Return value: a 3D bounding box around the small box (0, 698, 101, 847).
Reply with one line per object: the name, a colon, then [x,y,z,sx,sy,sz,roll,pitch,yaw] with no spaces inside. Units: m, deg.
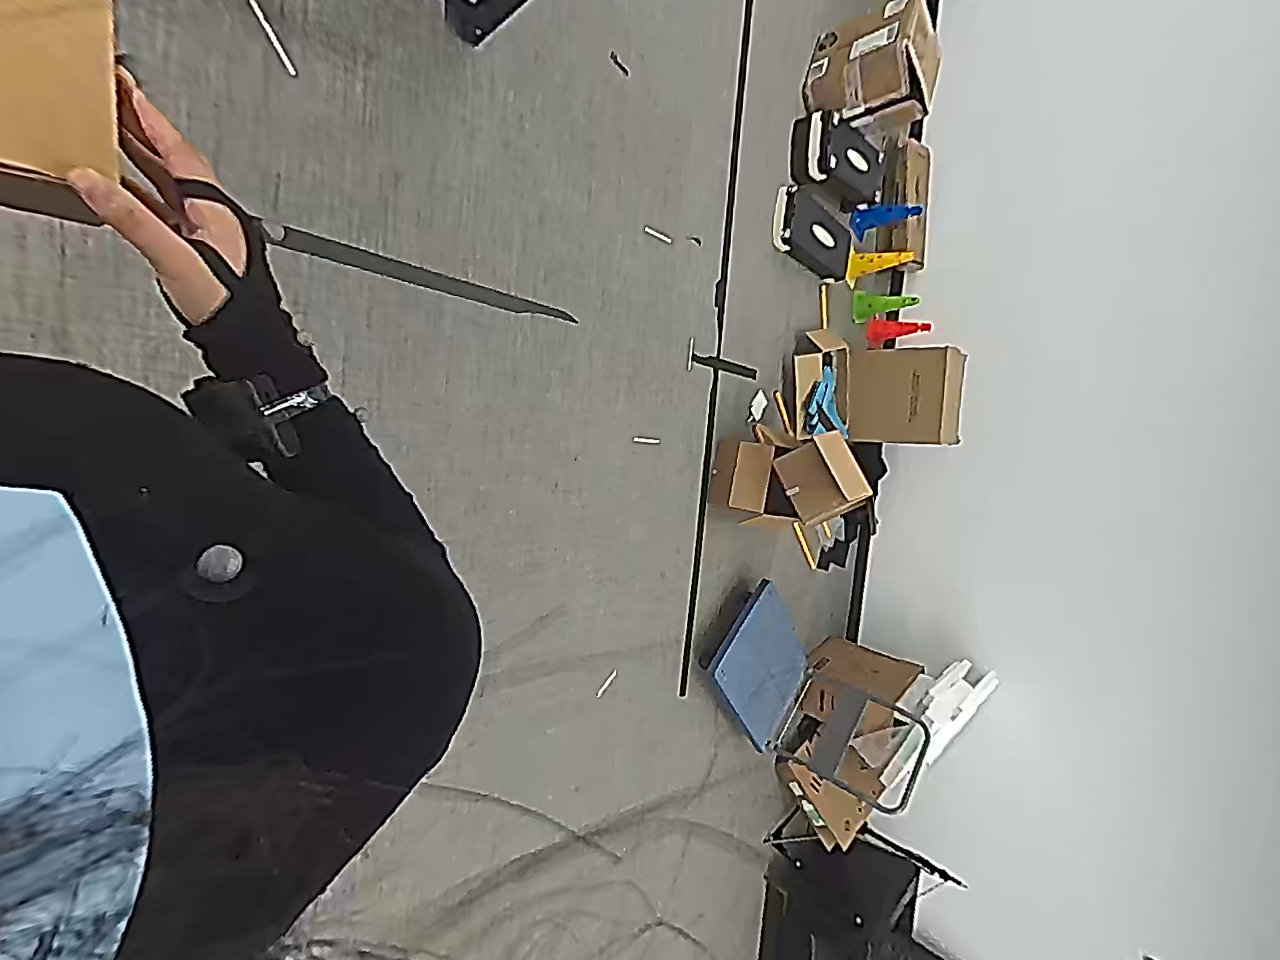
small box: [-1.102,0.519,0.979,0.168,0.176,0.179,-6,102,-45]
